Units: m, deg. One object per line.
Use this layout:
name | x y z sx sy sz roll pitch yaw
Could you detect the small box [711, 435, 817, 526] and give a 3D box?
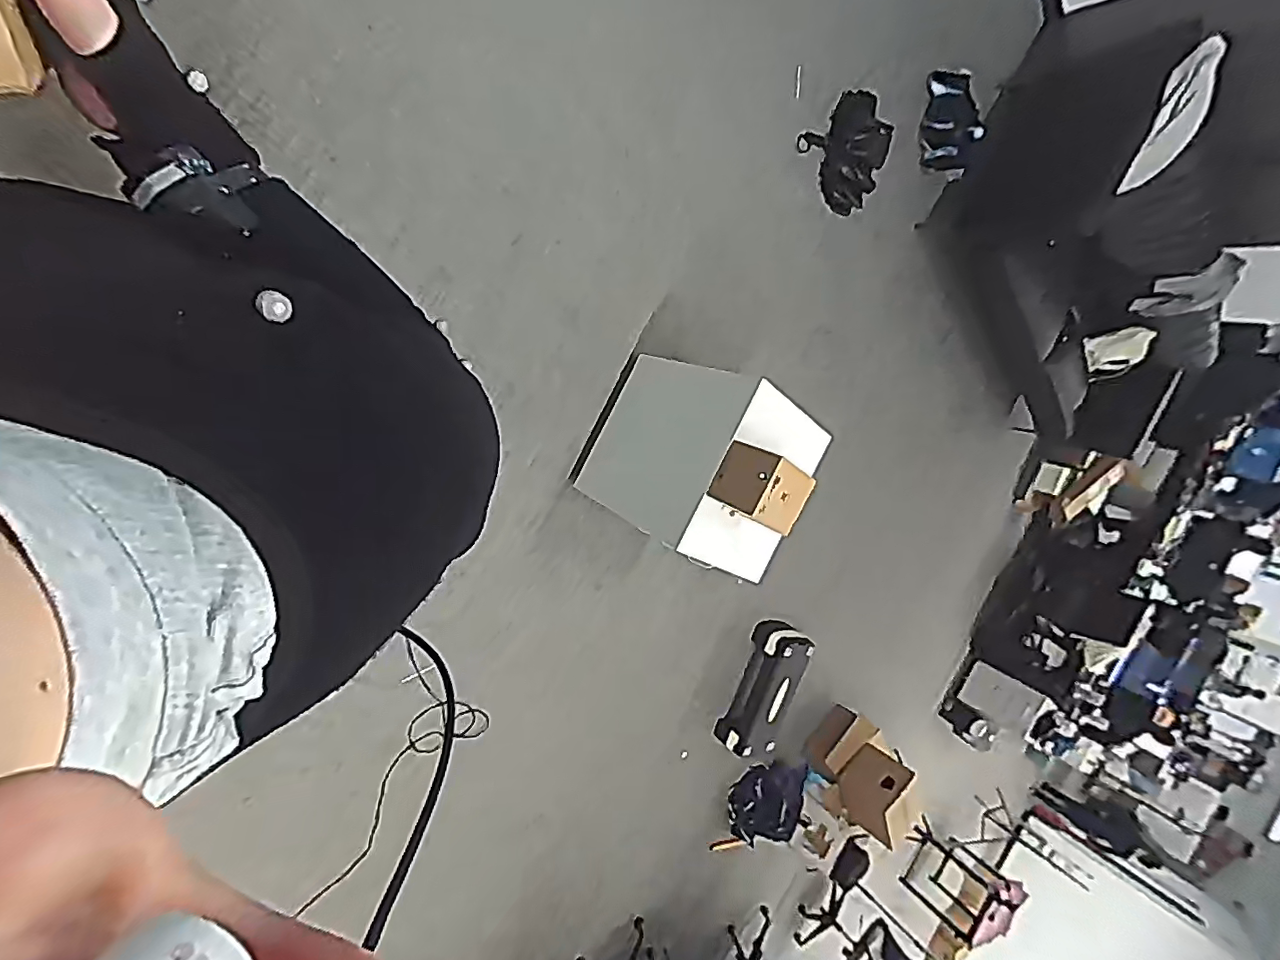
small box | 0.320 -0.004 1.401 0.179 0.176 0.168 25 90 -42
